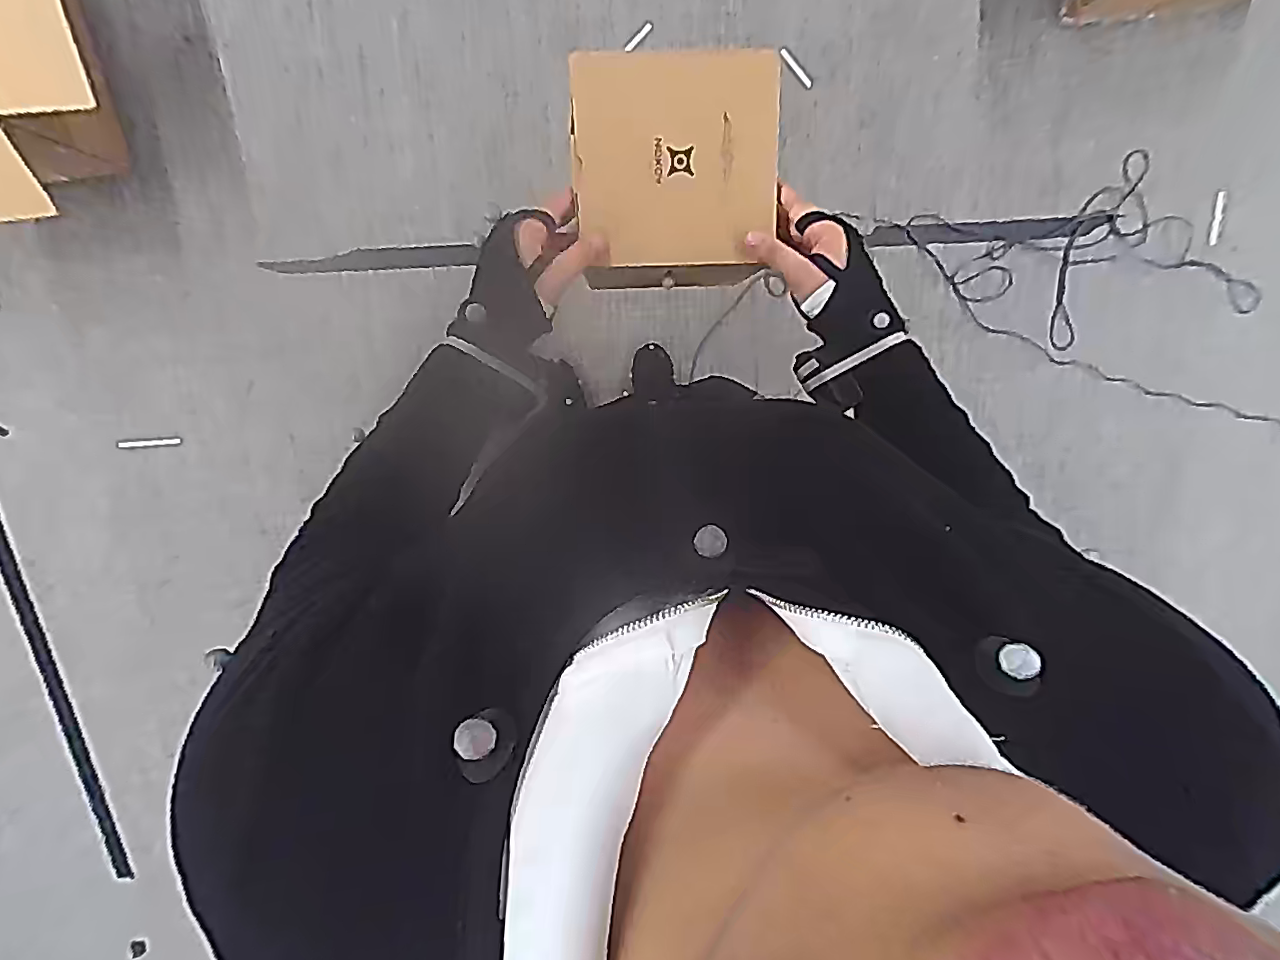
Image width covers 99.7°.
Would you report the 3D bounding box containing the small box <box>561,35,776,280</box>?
[{"bbox_3d":[0.023,-0.294,0.530,0.179,0.176,0.168,-3,104,-2],"label":"small box"}]
